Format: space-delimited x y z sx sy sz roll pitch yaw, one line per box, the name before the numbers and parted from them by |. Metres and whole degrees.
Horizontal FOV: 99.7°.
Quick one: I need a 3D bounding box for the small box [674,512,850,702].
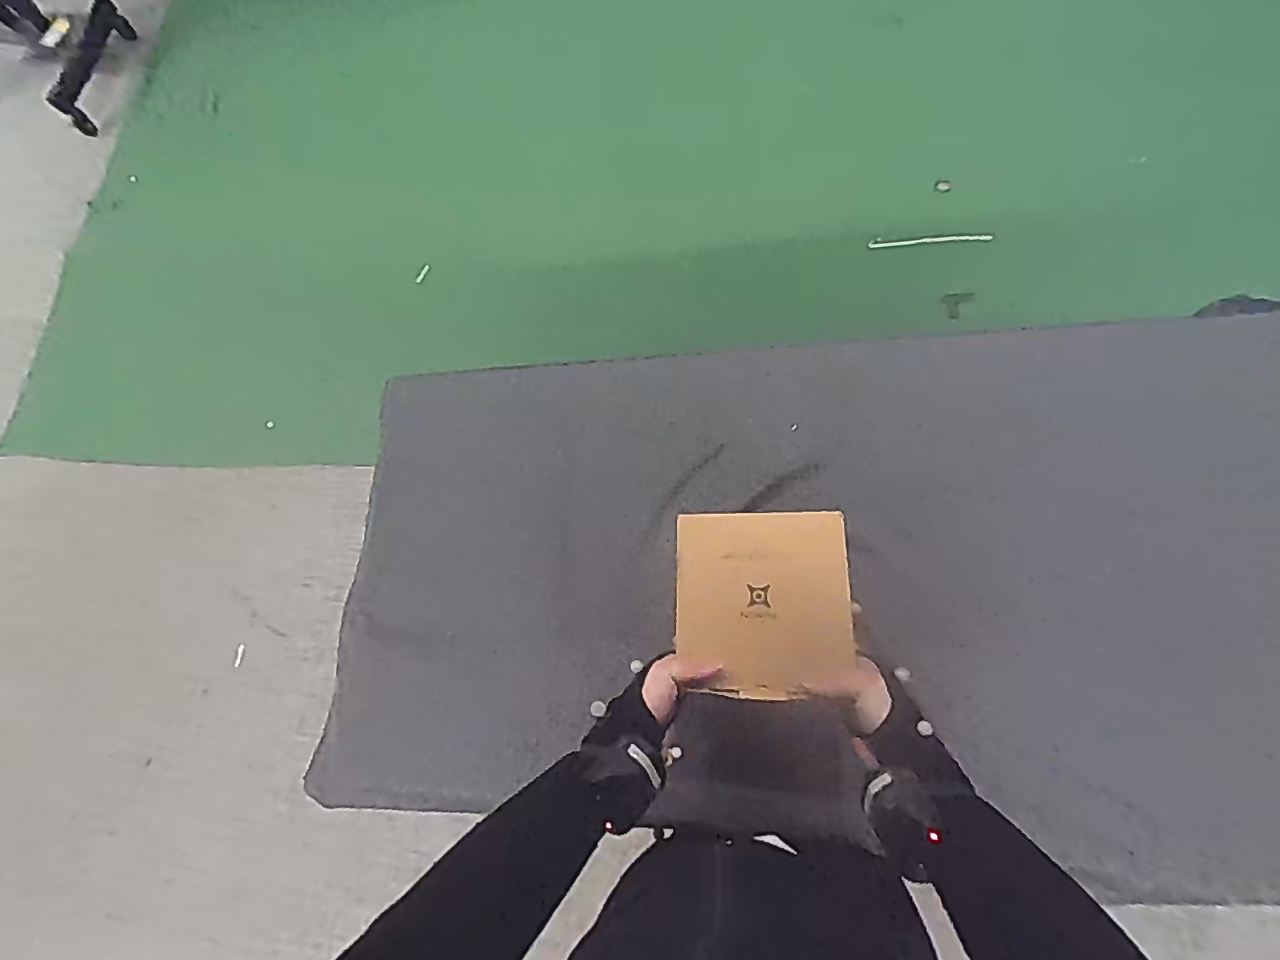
small box | 0.132 0.140 0.606 0.168 0.176 0.179 1 74 9
